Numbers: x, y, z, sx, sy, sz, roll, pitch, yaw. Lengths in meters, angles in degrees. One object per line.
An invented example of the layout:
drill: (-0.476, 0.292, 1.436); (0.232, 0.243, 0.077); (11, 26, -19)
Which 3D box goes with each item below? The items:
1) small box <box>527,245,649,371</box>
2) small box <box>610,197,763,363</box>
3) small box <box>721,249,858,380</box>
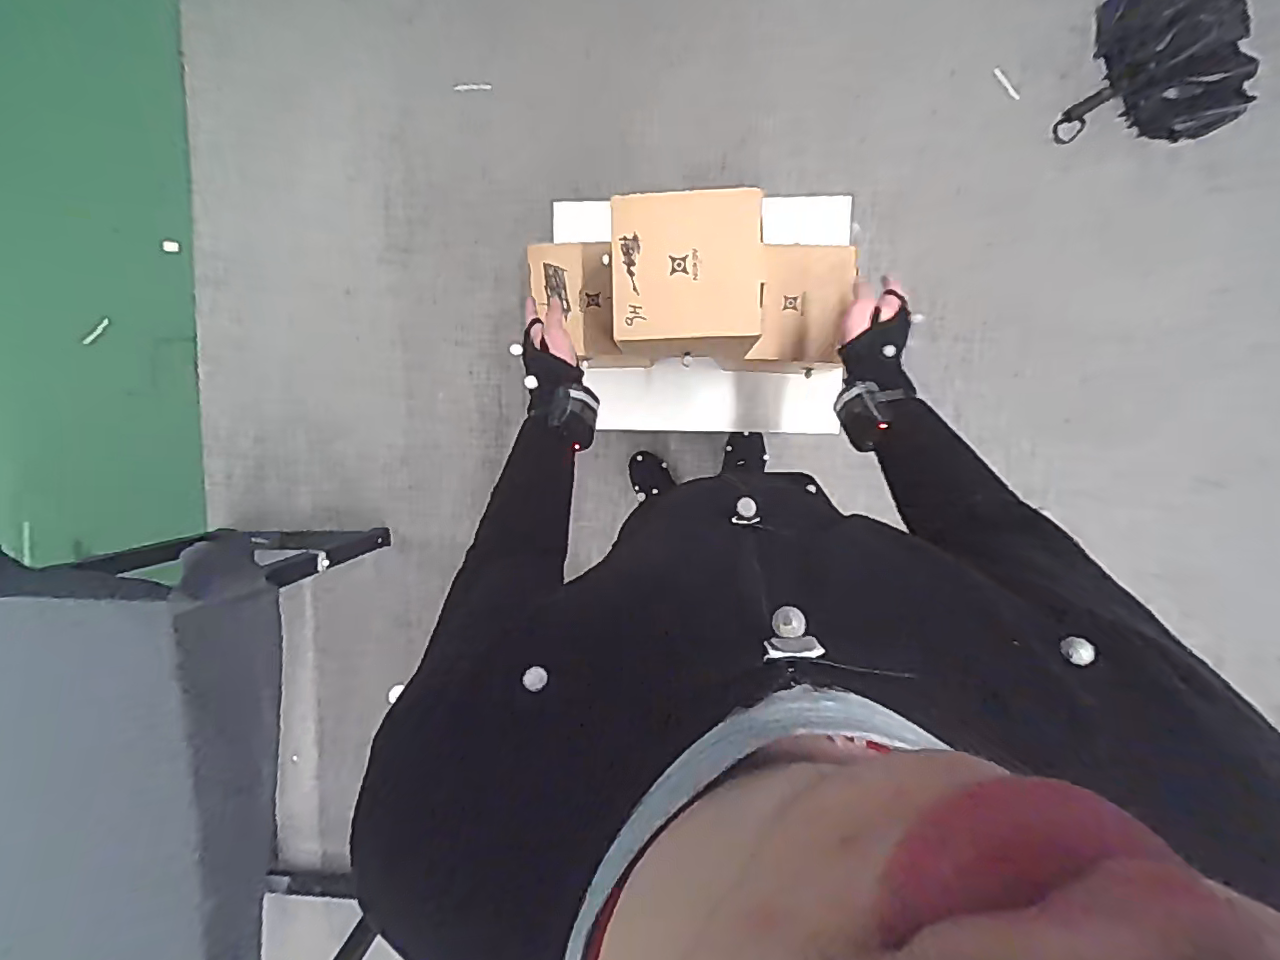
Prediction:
small box: (-0.075, -0.267, 0.872); (0.179, 0.176, 0.168); (0, 96, 4)
small box: (0.057, -0.246, 0.699); (0.179, 0.176, 0.168); (0, 95, 4)
small box: (0.223, -0.251, 0.849); (0.179, 0.176, 0.168); (3, 95, 7)
